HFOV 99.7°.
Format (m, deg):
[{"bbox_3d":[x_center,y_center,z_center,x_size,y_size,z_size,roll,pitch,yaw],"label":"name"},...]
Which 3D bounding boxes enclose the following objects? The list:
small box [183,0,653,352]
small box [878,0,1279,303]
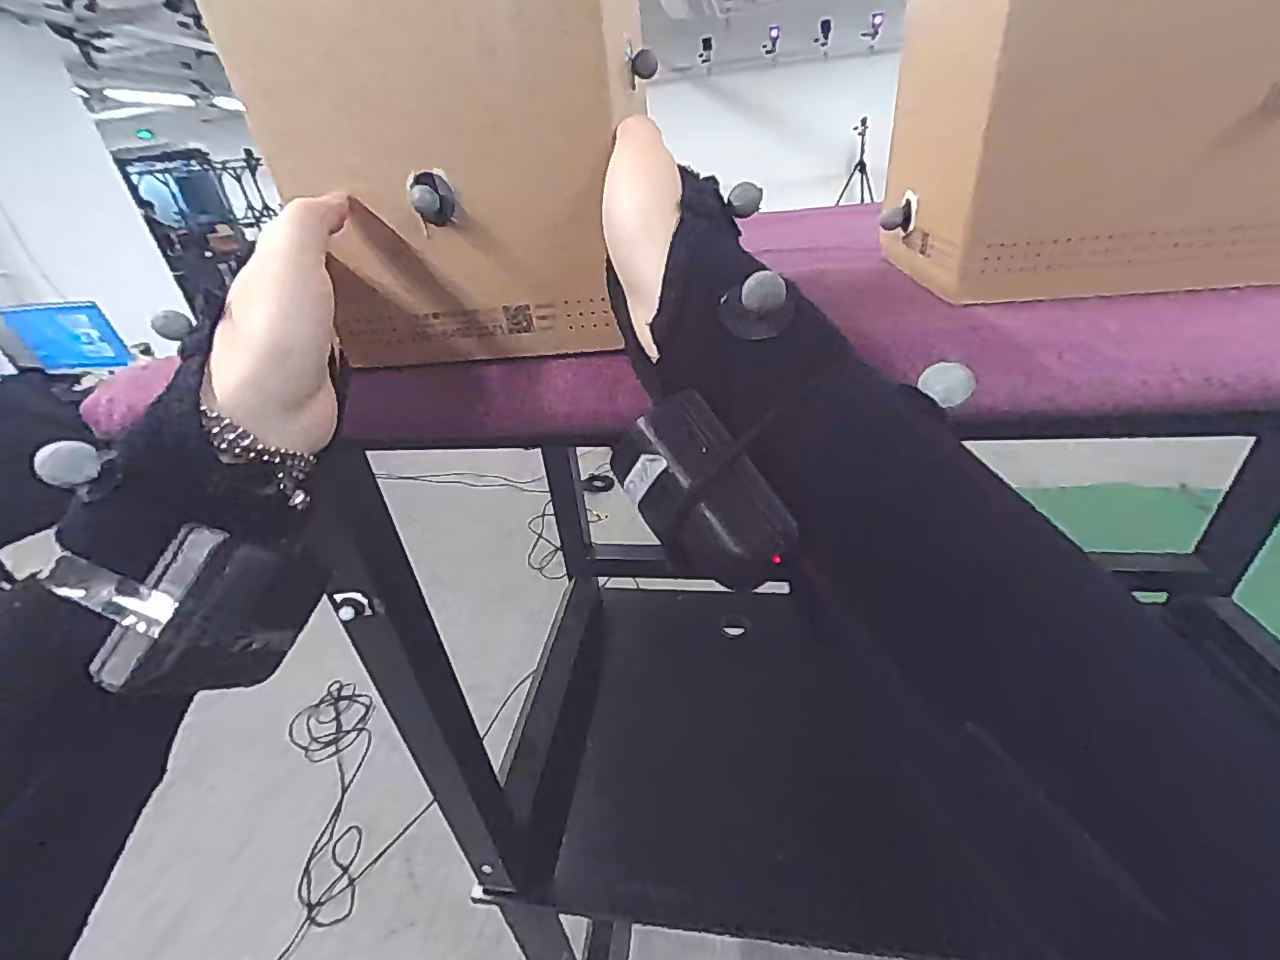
[{"bbox_3d":[-0.084,-0.180,0.313,0.168,0.176,0.179,-2,34,8],"label":"small box"},{"bbox_3d":[0.255,-0.210,0.310,0.179,0.176,0.168,-2,32,9],"label":"small box"}]
